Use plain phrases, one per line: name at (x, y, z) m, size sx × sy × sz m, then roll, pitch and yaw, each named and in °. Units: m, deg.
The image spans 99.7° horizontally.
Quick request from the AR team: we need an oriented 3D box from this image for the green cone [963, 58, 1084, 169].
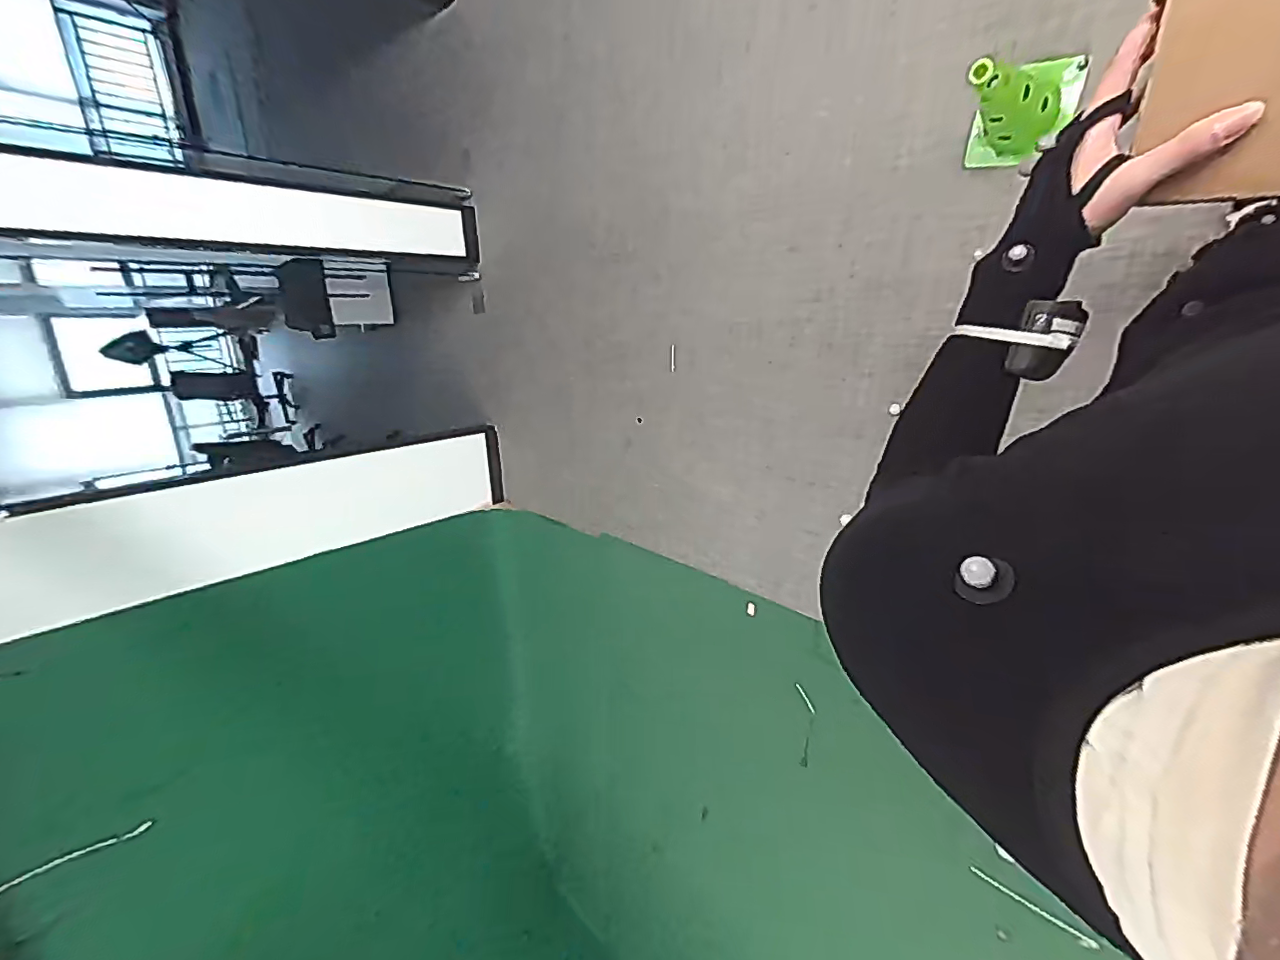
green cone at (0.748, -0.793, 1.127) m, size 0.200 × 0.368 × 0.202 m, roll 23°, pitch 120°, yaw 40°
